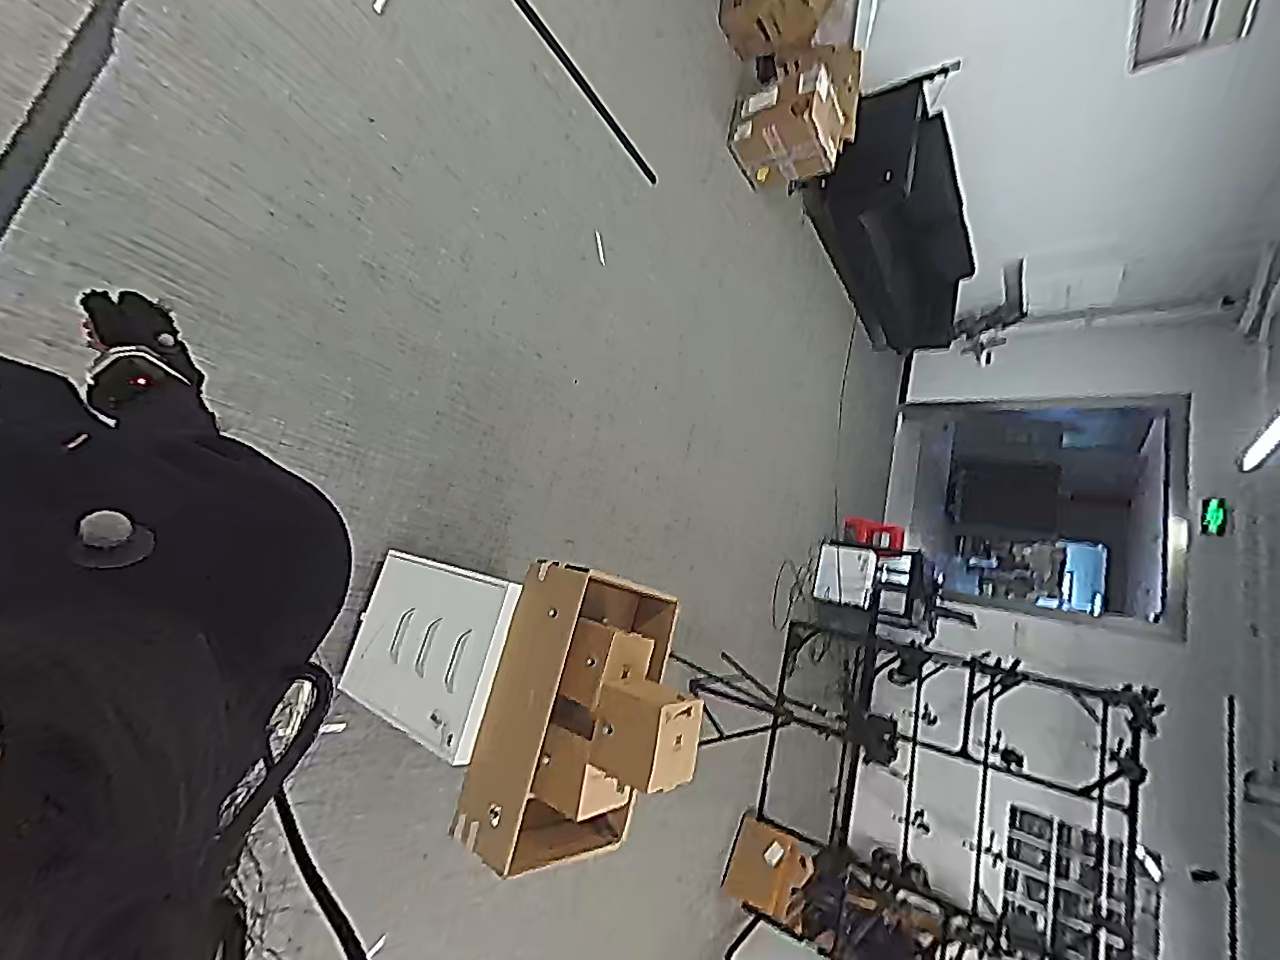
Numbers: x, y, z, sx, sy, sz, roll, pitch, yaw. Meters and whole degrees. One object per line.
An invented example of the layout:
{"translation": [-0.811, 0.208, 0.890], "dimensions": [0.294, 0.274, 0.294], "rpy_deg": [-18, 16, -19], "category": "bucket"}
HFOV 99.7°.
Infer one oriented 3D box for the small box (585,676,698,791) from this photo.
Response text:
{"translation": [0.001, 0.545, 1.188], "dimensions": [0.168, 0.176, 0.179], "rpy_deg": [22, 76, -50], "category": "small box"}
